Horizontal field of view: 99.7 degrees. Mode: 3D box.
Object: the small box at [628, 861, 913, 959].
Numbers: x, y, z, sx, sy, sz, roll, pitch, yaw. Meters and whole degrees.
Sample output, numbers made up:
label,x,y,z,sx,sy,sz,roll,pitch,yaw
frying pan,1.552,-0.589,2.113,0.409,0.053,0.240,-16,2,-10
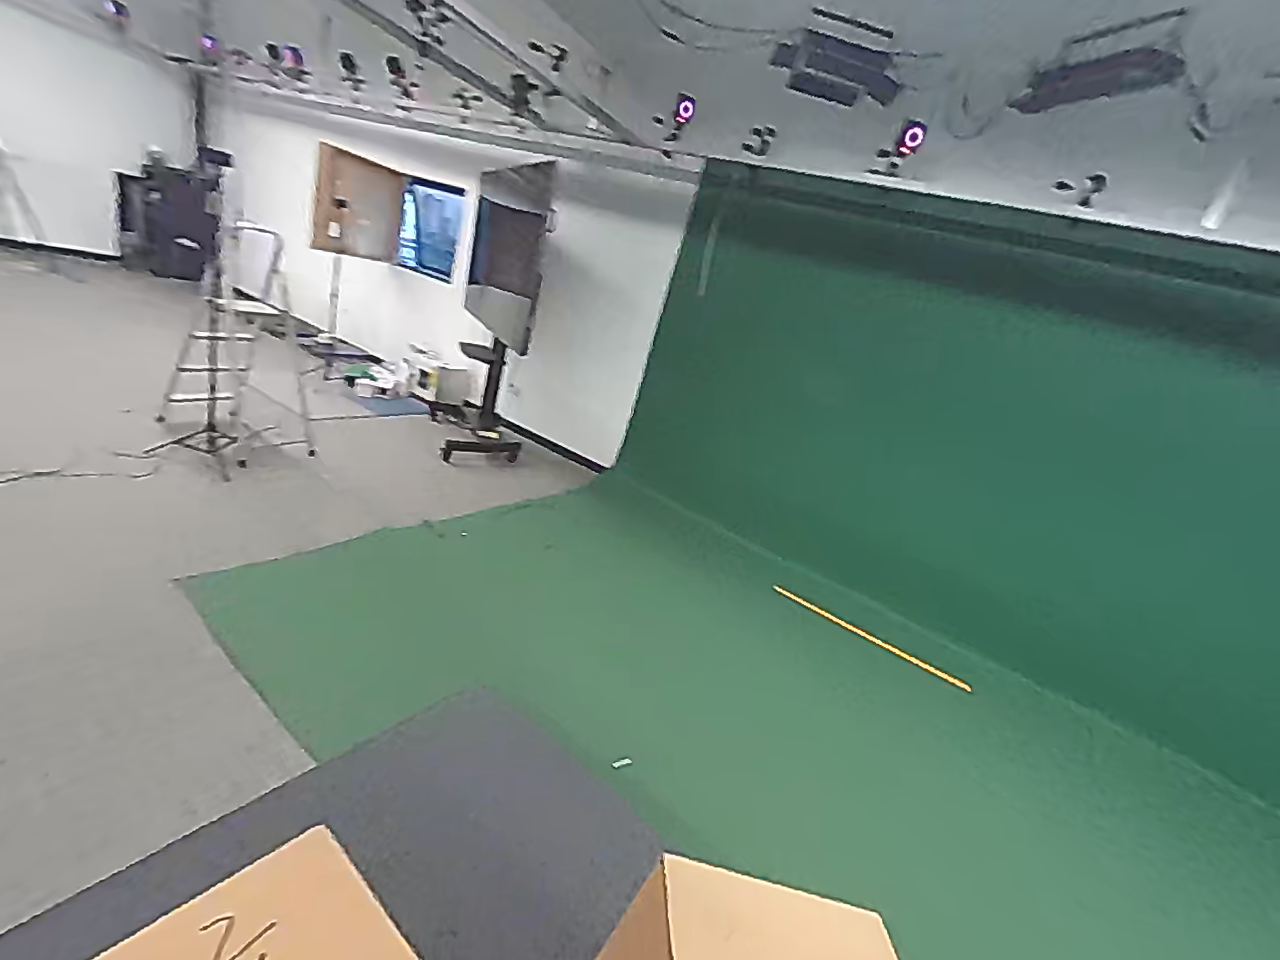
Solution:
label,x,y,z,sx,sy,sz,roll,pitch,yaw
small box,0.067,0.365,0.292,0.168,0.176,0.179,22,18,-9
